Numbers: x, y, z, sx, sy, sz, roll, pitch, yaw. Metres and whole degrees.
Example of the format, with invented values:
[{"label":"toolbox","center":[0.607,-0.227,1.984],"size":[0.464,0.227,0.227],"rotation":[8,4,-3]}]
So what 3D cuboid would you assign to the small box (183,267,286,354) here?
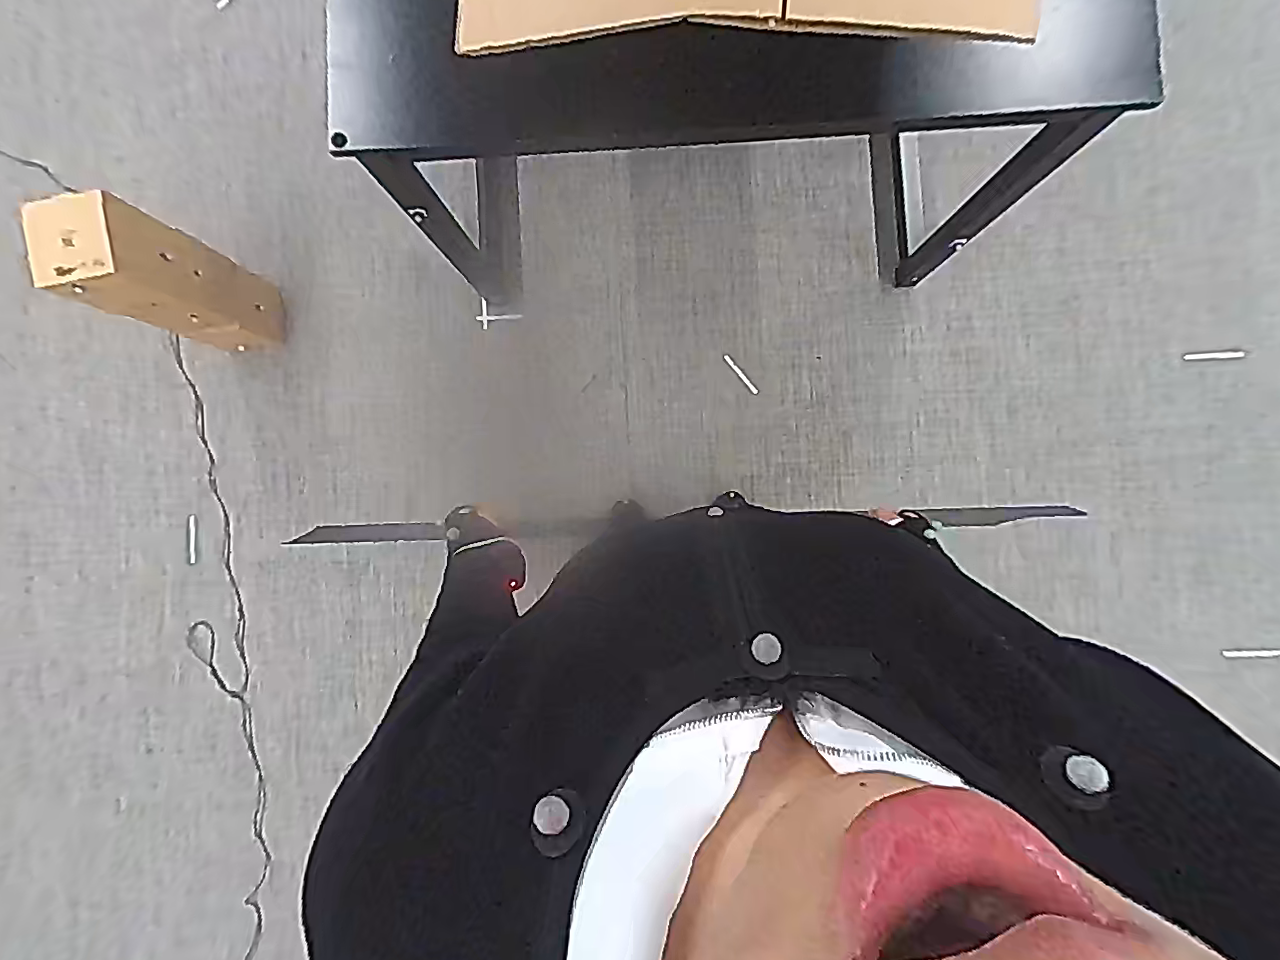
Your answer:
[{"label":"small box","center":[-1.109,-0.458,1.483],"size":[0.168,0.176,0.179],"rotation":[-6,88,2]}]

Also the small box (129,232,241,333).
[{"label":"small box","center":[-1.117,-0.470,1.321],"size":[0.168,0.176,0.179],"rotation":[-9,86,1]}]

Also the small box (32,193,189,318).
[{"label":"small box","center":[-1.121,-0.472,1.157],"size":[0.168,0.176,0.179],"rotation":[-11,87,1]}]
